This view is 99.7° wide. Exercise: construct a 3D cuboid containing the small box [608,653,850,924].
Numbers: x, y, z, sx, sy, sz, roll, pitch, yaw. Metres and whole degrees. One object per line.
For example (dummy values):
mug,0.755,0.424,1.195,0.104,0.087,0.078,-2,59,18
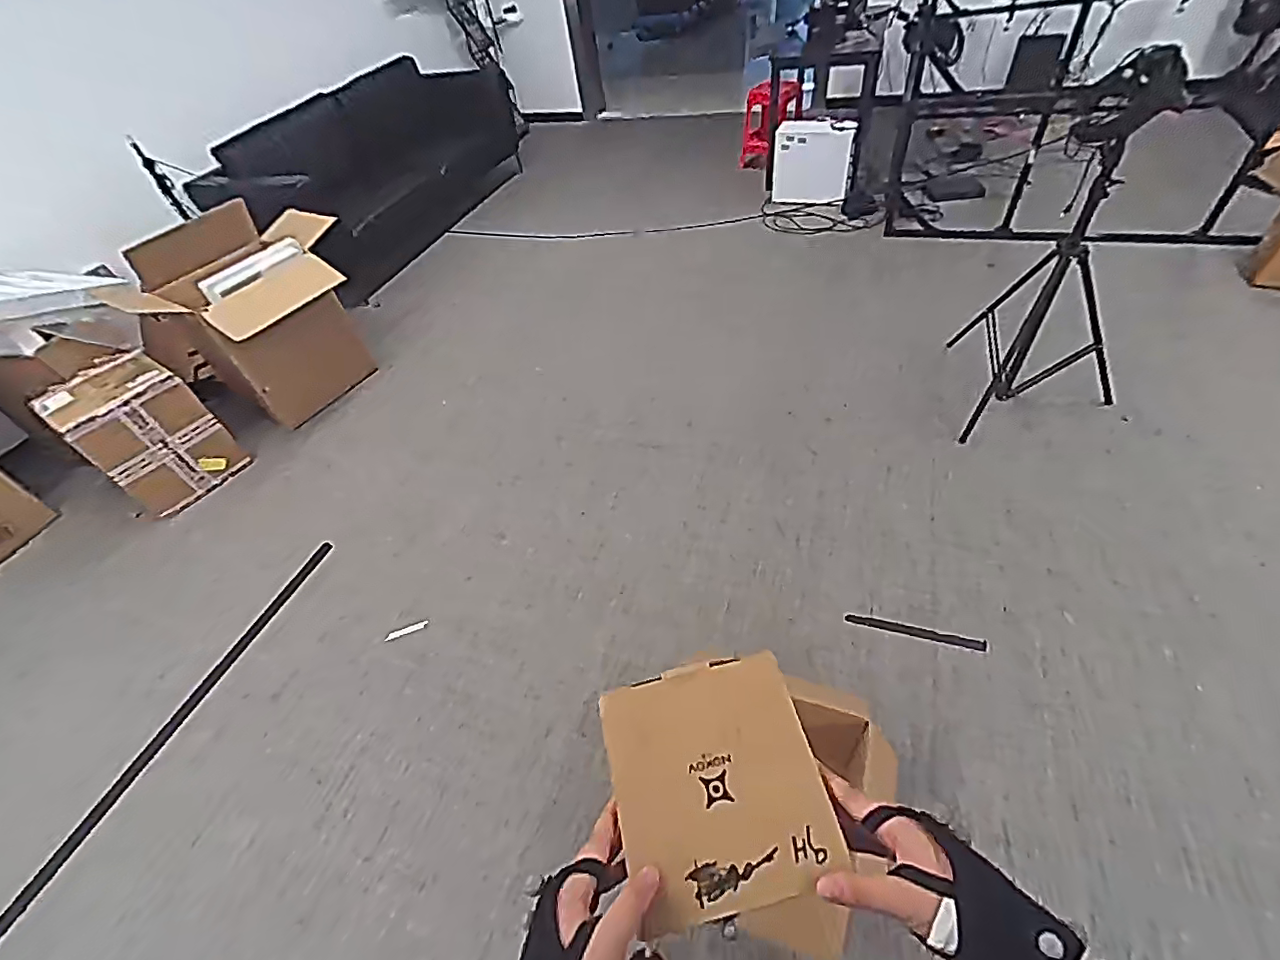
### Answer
small box,0.070,0.291,0.515,0.168,0.176,0.179,-12,55,-2
